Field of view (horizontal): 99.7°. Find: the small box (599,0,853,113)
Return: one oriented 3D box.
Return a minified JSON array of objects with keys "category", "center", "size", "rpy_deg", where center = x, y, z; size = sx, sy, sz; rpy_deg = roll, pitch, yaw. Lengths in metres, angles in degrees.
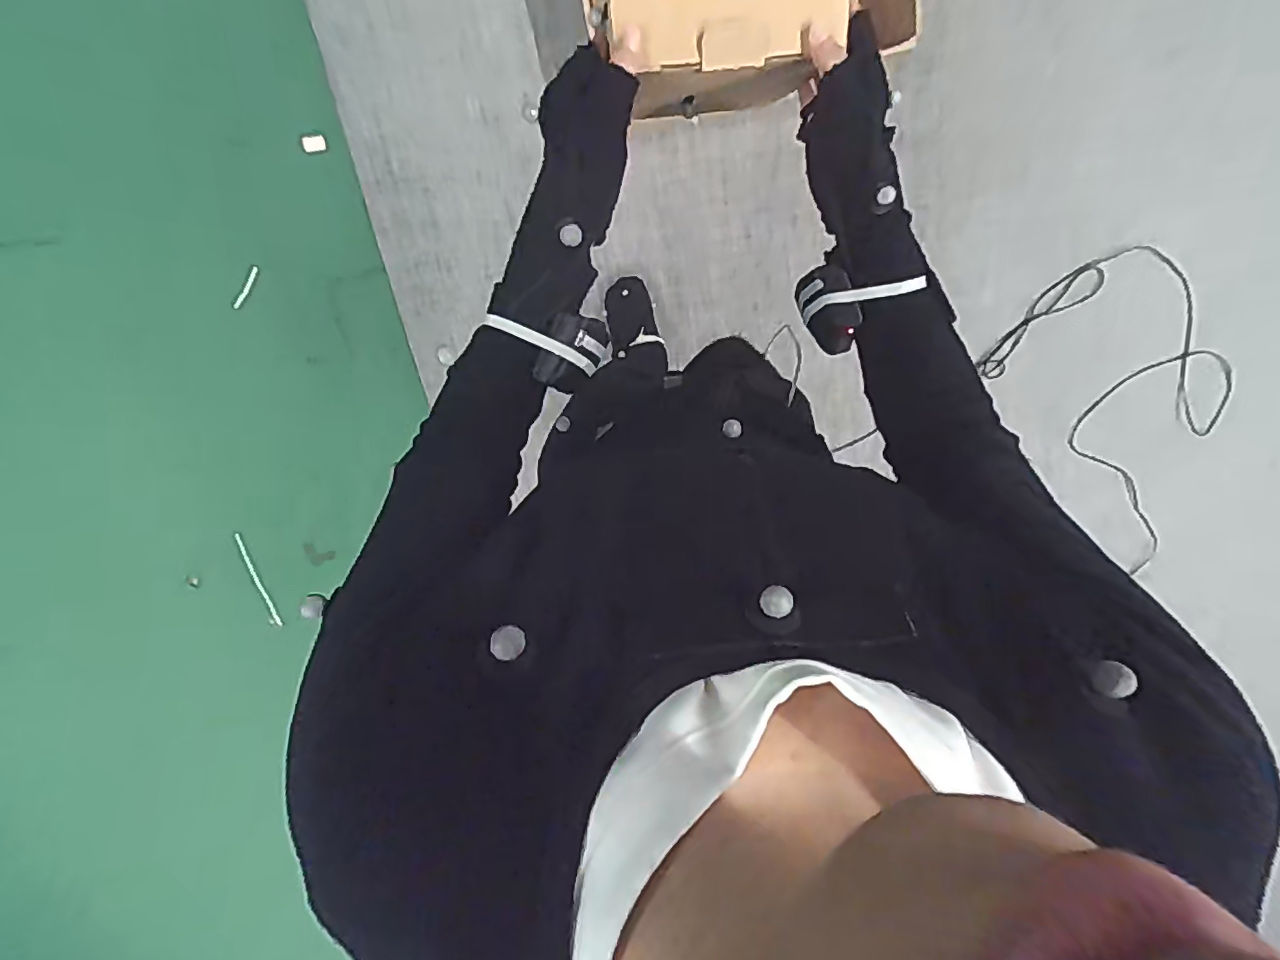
[{"category":"small box","center":[0.052,-0.405,0.413],"size":[0.168,0.176,0.179],"rpy_deg":[-7,116,-3]}]
